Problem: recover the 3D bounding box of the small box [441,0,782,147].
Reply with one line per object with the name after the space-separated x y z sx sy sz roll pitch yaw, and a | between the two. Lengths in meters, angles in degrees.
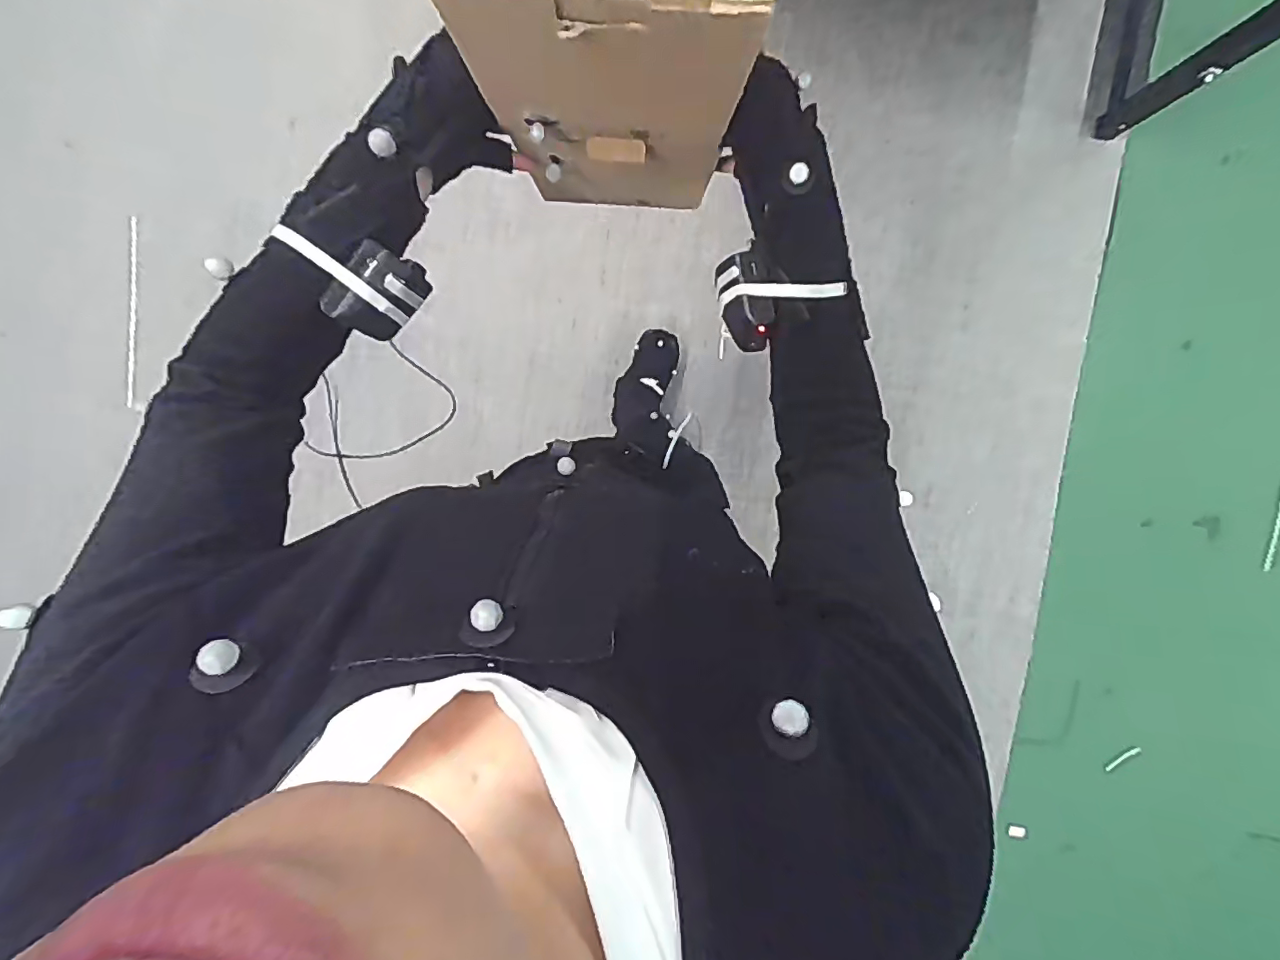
-0.008 -0.319 0.307 0.168 0.176 0.179 6 102 -5 | small box
